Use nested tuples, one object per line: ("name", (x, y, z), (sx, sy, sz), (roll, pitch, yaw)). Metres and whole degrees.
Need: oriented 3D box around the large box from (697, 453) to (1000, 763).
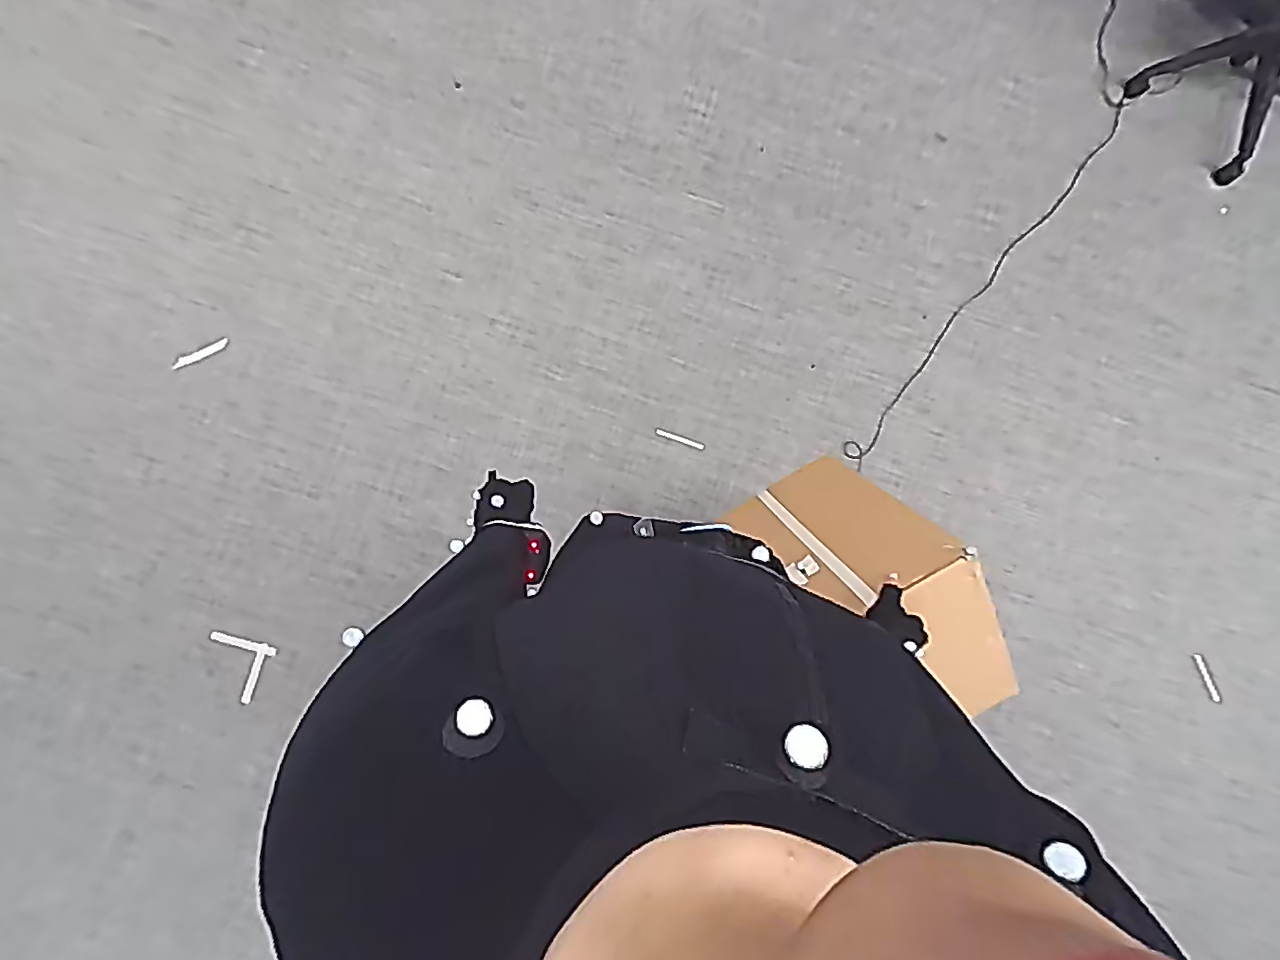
("large box", (0.357, 0.209, 1.001), (0.320, 0.408, 0.320), (-32, 116, 2))
